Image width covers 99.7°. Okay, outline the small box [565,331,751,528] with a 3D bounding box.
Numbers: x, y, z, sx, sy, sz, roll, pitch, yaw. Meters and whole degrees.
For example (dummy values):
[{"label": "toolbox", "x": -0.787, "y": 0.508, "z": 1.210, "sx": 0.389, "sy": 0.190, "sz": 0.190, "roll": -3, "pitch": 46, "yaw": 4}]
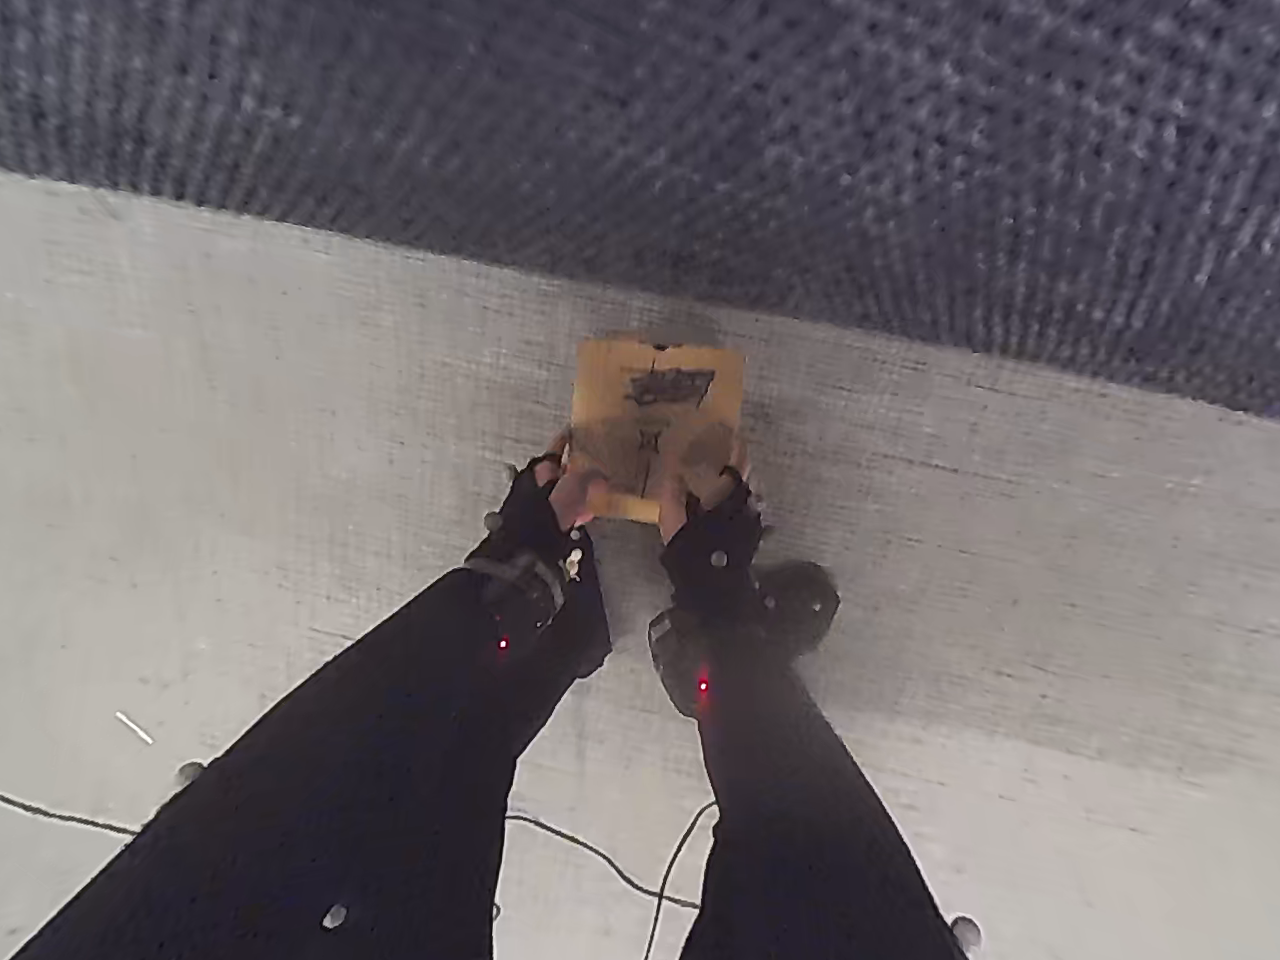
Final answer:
[{"label": "small box", "x": 0.027, "y": -0.054, "z": 0.589, "sx": 0.168, "sy": 0.176, "sz": 0.179, "roll": 6, "pitch": 96, "yaw": 10}]
